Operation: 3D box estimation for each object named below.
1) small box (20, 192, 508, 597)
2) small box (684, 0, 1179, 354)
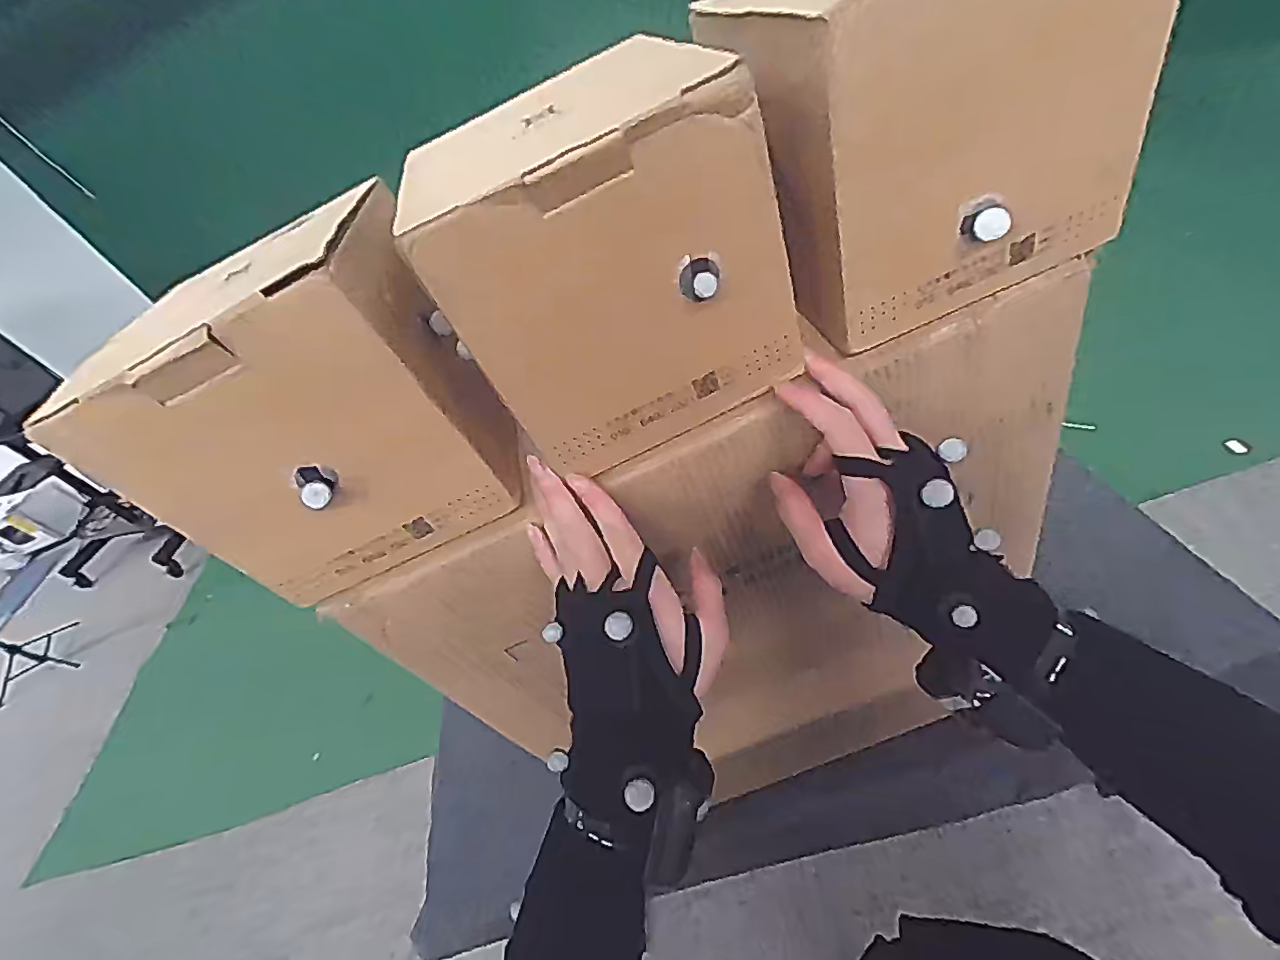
[{"bbox_3d":[-0.199,-0.047,0.353,0.168,0.176,0.179,-25,42,6],"label":"small box"},{"bbox_3d":[0.144,-0.204,0.314,0.168,0.176,0.179,-24,43,5],"label":"small box"}]
